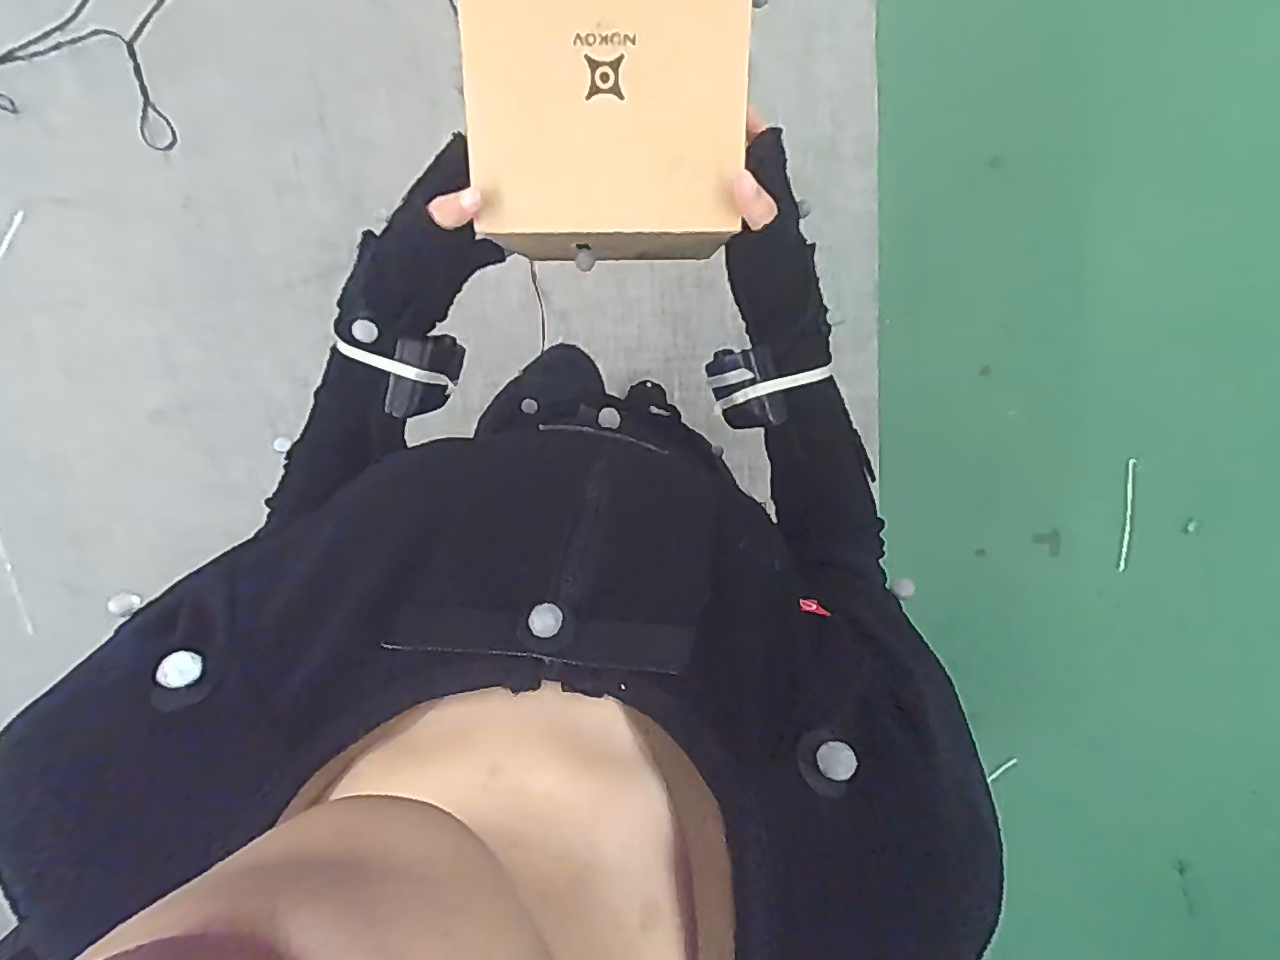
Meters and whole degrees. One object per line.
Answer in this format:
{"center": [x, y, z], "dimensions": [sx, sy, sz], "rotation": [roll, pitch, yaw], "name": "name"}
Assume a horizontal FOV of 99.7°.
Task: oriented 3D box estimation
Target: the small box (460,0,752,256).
{"center": [-0.017, -0.261, 0.384], "dimensions": [0.168, 0.176, 0.179], "rotation": [0, 105, 1], "name": "small box"}
